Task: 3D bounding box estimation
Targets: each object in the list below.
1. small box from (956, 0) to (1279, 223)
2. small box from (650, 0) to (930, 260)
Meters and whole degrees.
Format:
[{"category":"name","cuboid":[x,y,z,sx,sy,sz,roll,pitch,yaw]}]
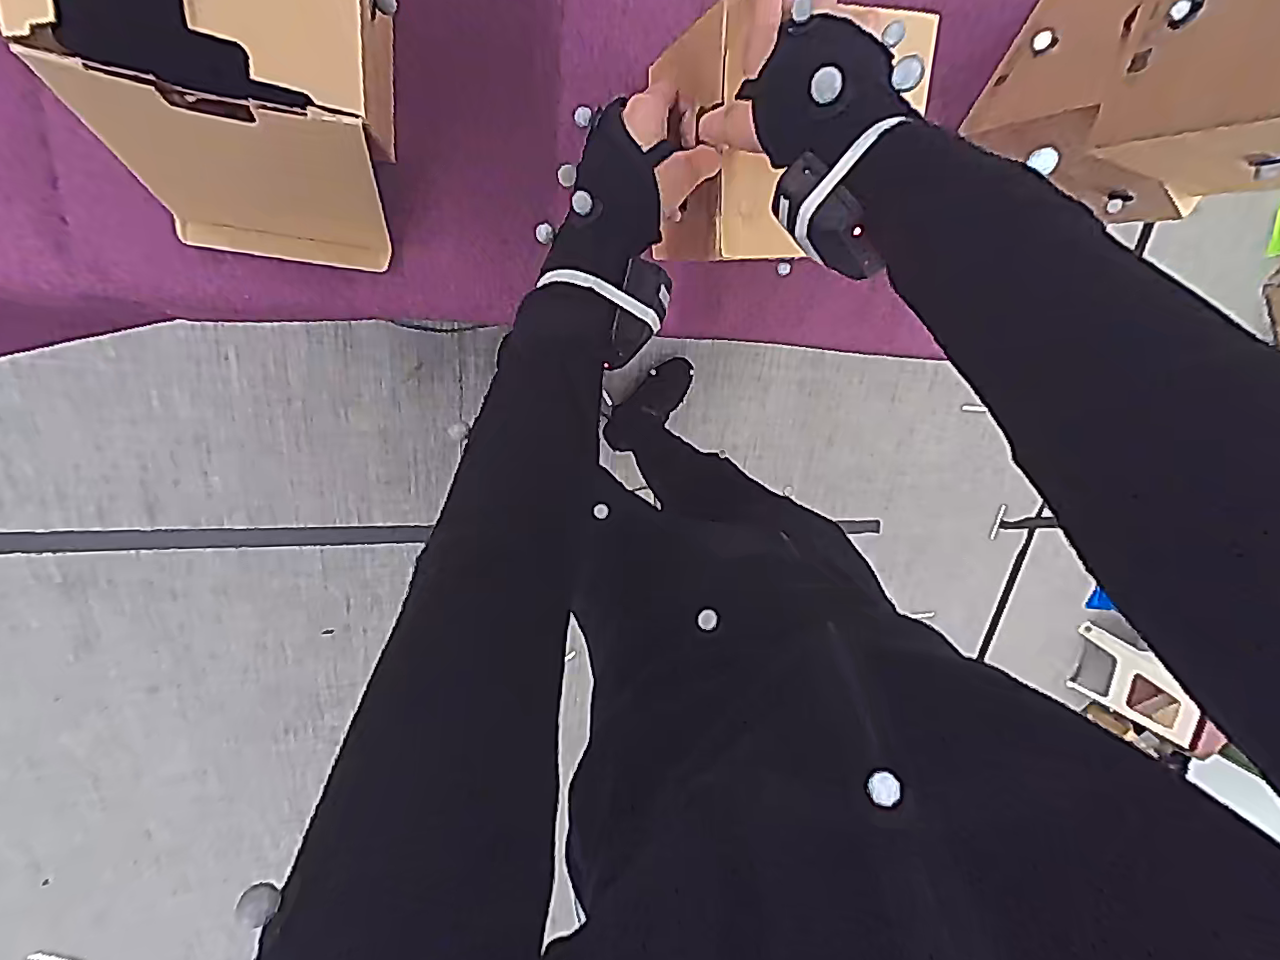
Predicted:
[{"category":"small box","cuboid":[0.481,-0.389,0.557,0.179,0.176,0.168,26,102,-25]},{"category":"small box","cuboid":[0.112,-0.286,0.481,0.179,0.176,0.168,-8,114,-15]}]
